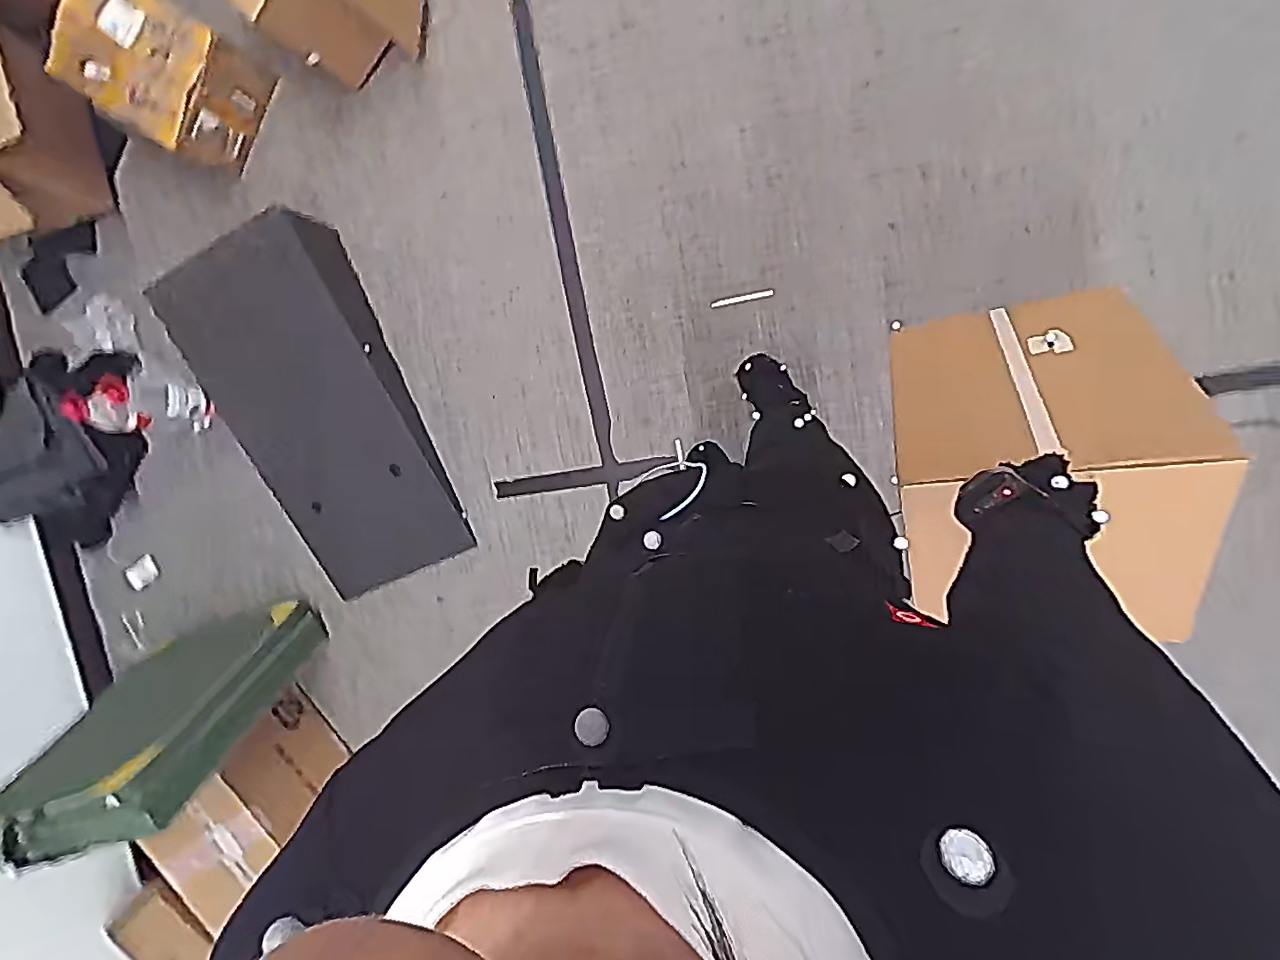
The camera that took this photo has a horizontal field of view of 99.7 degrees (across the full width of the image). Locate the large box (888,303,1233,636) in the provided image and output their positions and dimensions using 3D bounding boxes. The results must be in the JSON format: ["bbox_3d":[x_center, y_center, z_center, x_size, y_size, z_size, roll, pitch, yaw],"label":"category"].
[{"bbox_3d":[0.573,-0.016,0.833,0.320,0.408,0.320,-4,129,26],"label":"large box"}]
